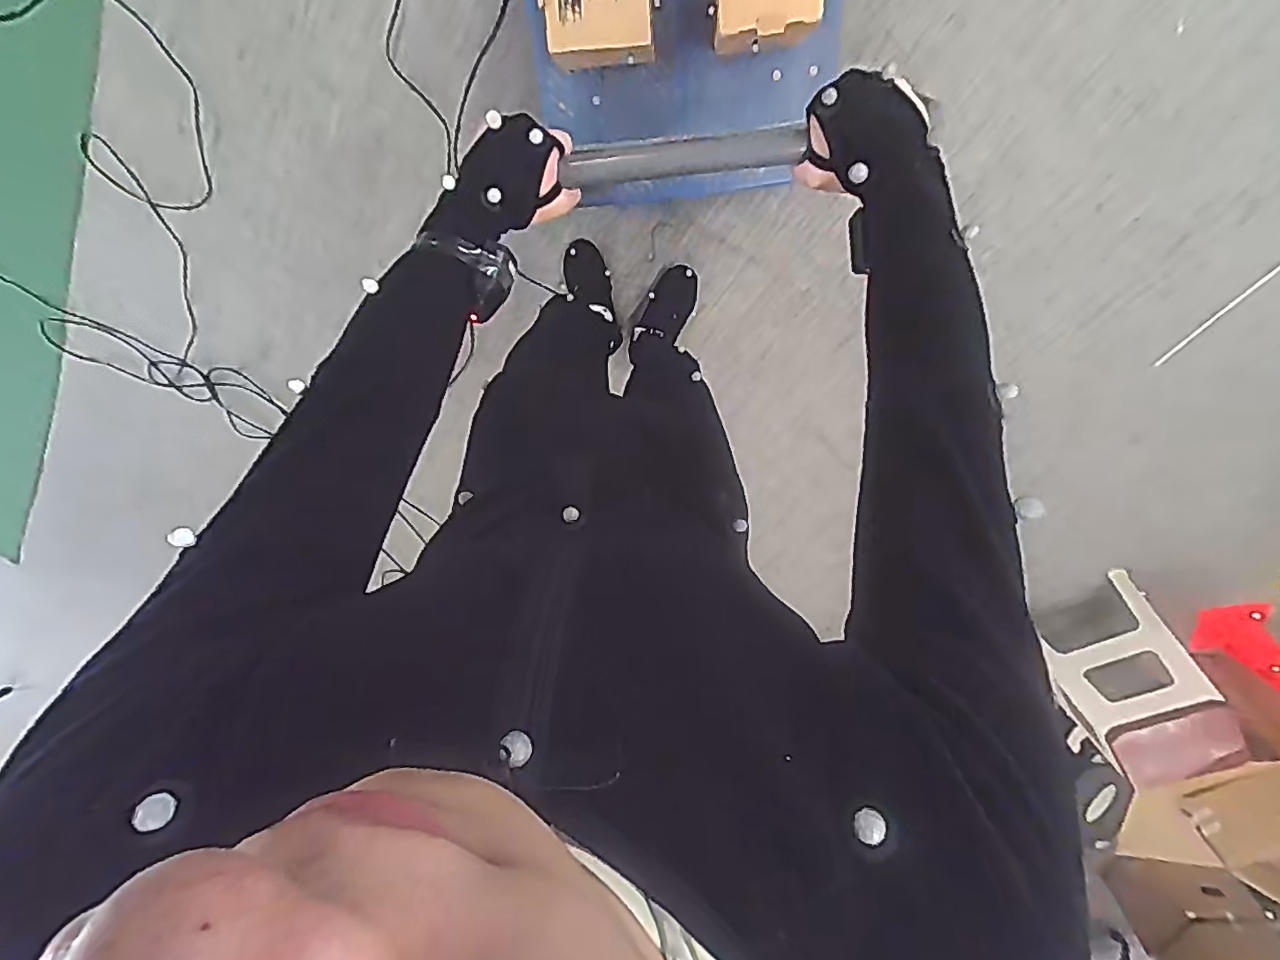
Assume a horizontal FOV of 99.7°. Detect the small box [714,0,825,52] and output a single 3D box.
[{"bbox_3d":[0.208,-0.844,0.896,0.168,0.176,0.179,-4,121,7],"label":"small box"}]
